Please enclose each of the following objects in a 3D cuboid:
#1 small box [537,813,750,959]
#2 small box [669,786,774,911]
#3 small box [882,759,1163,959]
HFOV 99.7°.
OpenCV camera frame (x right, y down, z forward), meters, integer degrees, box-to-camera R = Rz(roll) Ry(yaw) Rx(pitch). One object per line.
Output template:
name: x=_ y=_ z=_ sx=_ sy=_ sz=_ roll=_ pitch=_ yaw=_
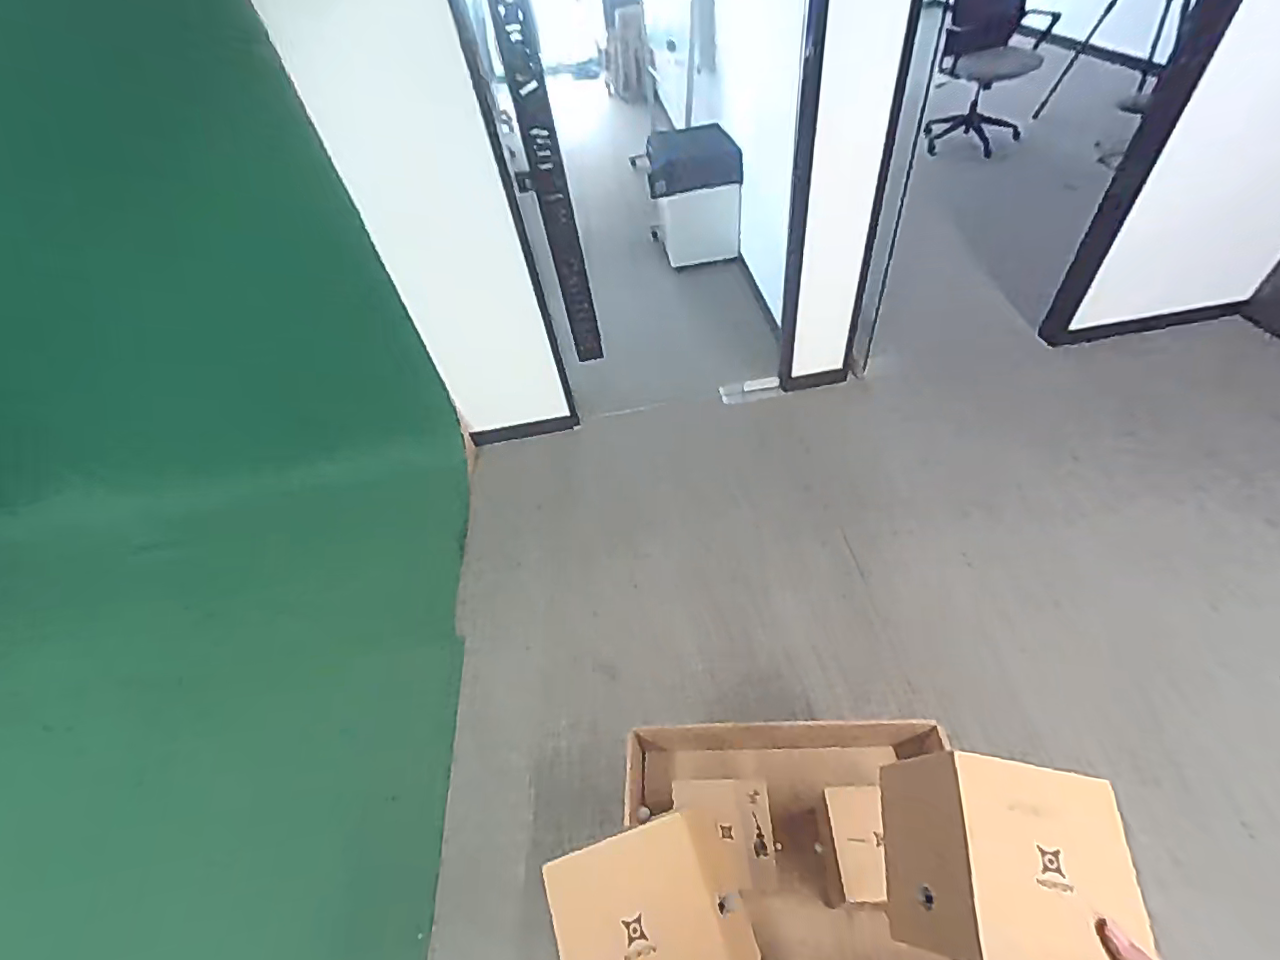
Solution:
small box: x=0.010 y=0.485 z=0.589 sx=0.168 sy=0.176 sz=0.179 roll=-23 pitch=61 yaw=3
small box: x=0.147 y=0.674 z=0.988 sx=0.179 sy=0.176 sz=0.168 roll=-3 pitch=47 yaw=7
small box: x=0.370 y=0.409 z=0.557 sx=0.168 sy=0.176 sz=0.179 roll=13 pitch=56 yaw=1
